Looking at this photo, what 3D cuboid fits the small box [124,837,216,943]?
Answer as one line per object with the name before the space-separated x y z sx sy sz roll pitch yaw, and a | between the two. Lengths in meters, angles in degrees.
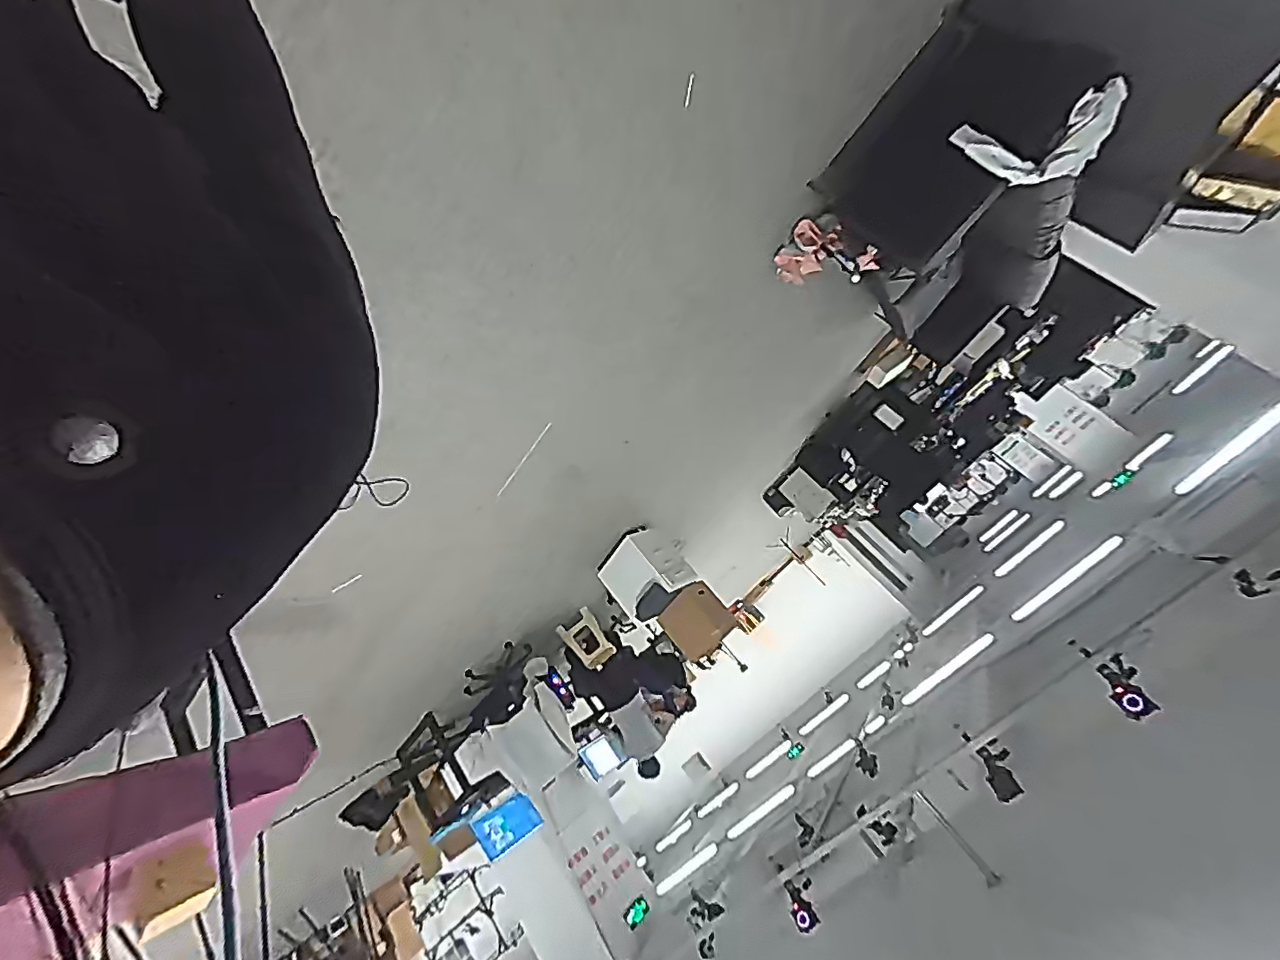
small box | -1.410 1.216 1.619 0.168 0.176 0.179 -4 138 -54
